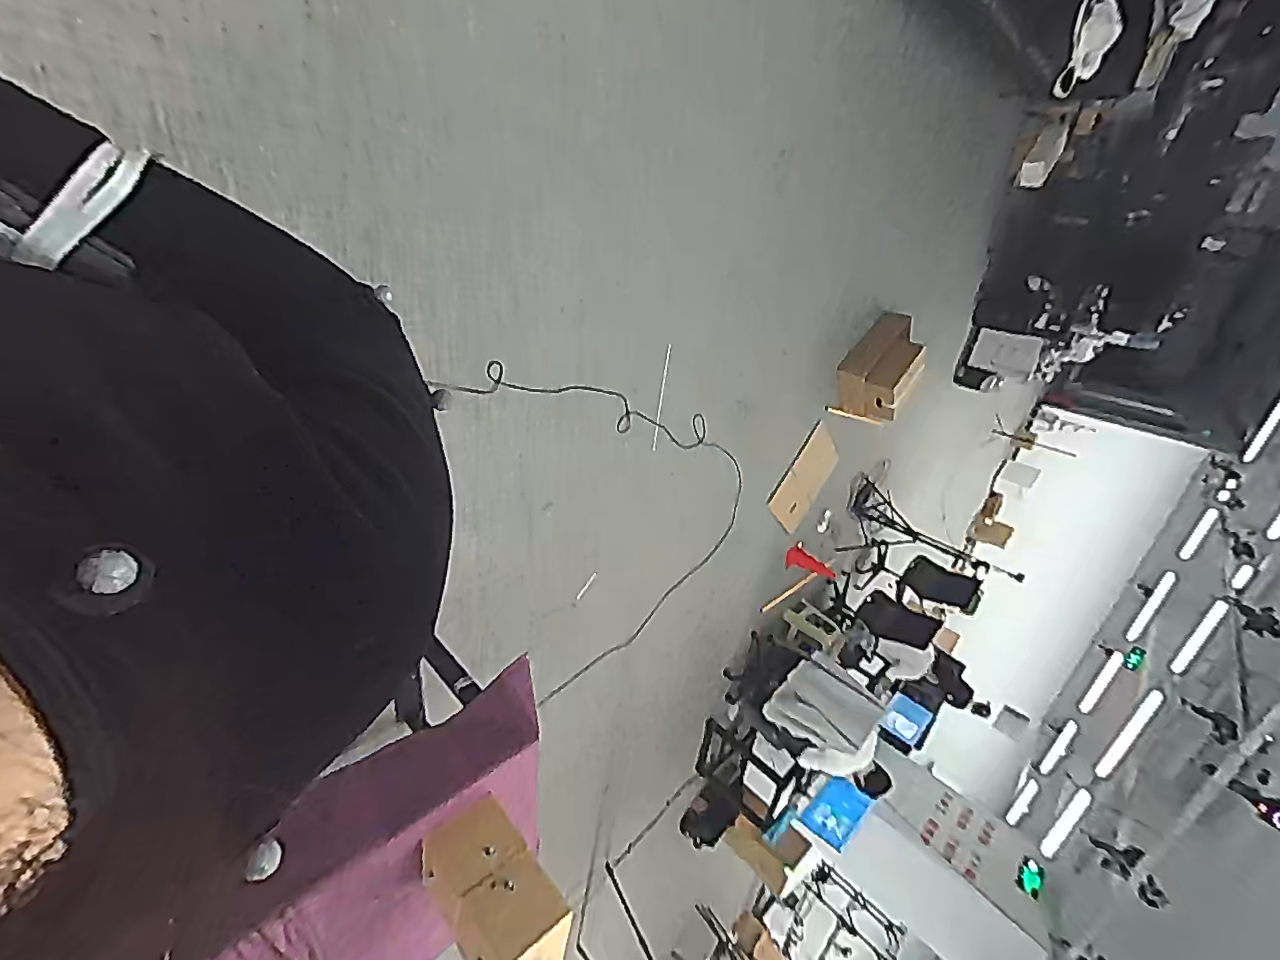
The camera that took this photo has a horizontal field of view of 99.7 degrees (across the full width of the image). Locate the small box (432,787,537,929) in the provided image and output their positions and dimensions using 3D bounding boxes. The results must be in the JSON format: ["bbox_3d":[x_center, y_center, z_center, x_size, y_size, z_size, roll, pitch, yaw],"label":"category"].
[{"bbox_3d":[-0.365,0.870,1.264,0.179,0.176,0.168,-15,124,-43],"label":"small box"}]
